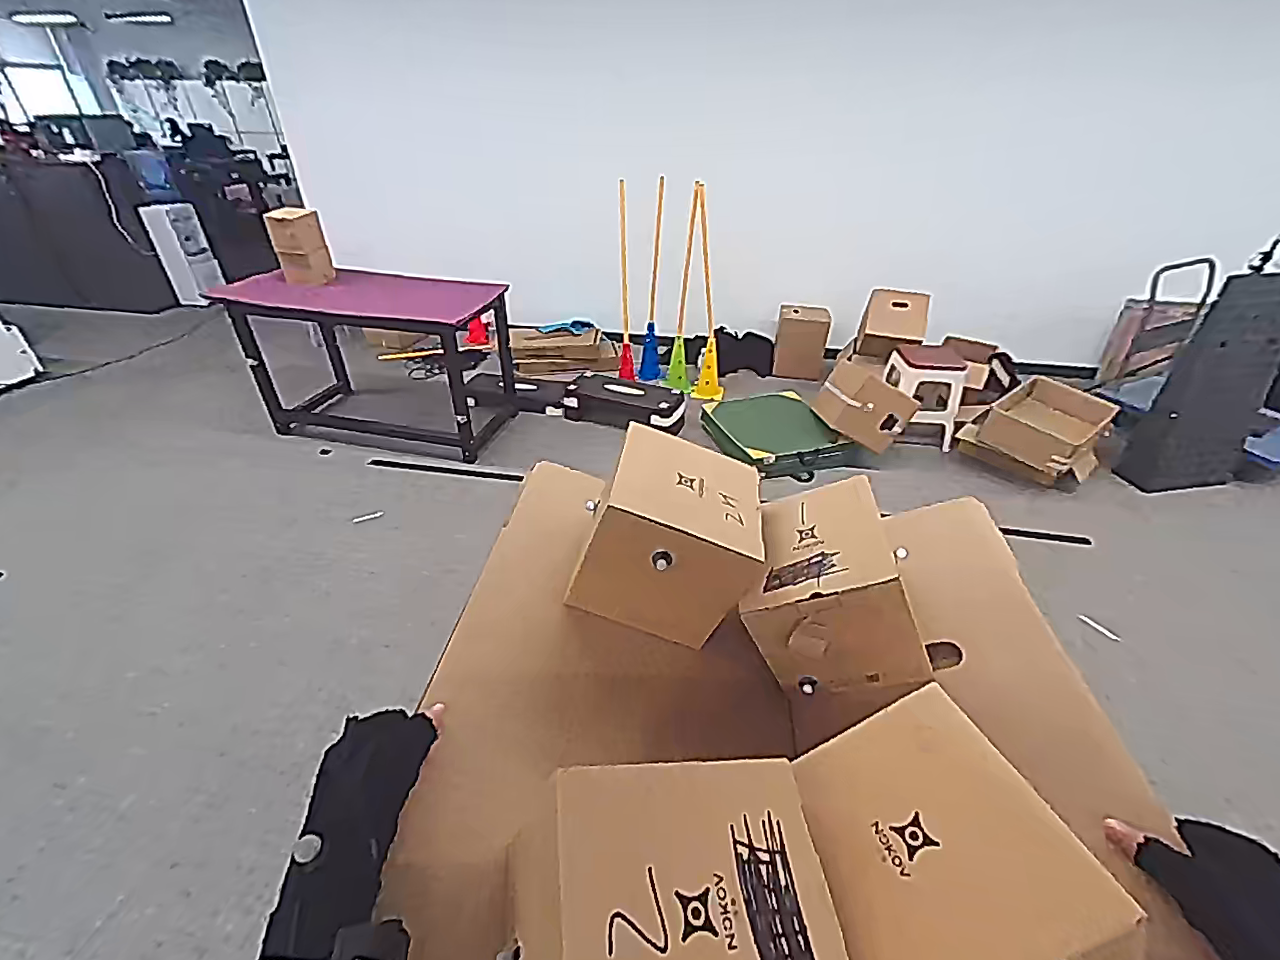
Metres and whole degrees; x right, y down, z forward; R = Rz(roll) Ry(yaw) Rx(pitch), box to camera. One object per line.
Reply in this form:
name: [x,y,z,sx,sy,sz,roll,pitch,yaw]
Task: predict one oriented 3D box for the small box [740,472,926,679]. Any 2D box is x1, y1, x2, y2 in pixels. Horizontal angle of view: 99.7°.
small box: [0.231,0.124,0.662,0.168,0.176,0.179,-18,31,23]
